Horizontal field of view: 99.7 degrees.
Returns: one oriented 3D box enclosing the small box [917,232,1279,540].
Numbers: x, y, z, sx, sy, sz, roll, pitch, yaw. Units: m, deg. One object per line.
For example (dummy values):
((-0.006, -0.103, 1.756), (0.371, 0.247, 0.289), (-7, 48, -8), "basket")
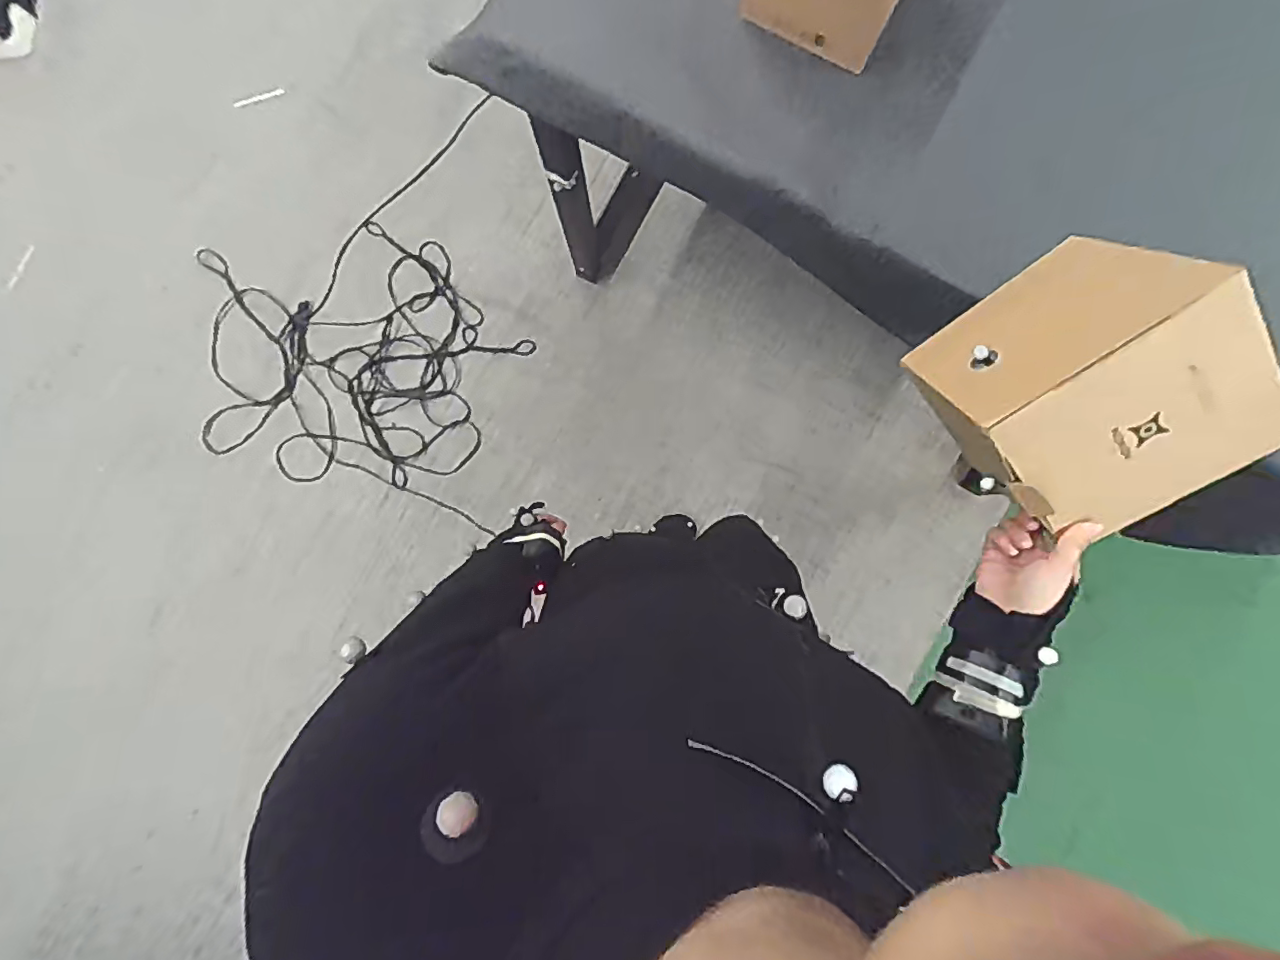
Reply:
((0.378, -0.087, 0.476), (0.179, 0.176, 0.168), (-40, 113, 21), "small box")
